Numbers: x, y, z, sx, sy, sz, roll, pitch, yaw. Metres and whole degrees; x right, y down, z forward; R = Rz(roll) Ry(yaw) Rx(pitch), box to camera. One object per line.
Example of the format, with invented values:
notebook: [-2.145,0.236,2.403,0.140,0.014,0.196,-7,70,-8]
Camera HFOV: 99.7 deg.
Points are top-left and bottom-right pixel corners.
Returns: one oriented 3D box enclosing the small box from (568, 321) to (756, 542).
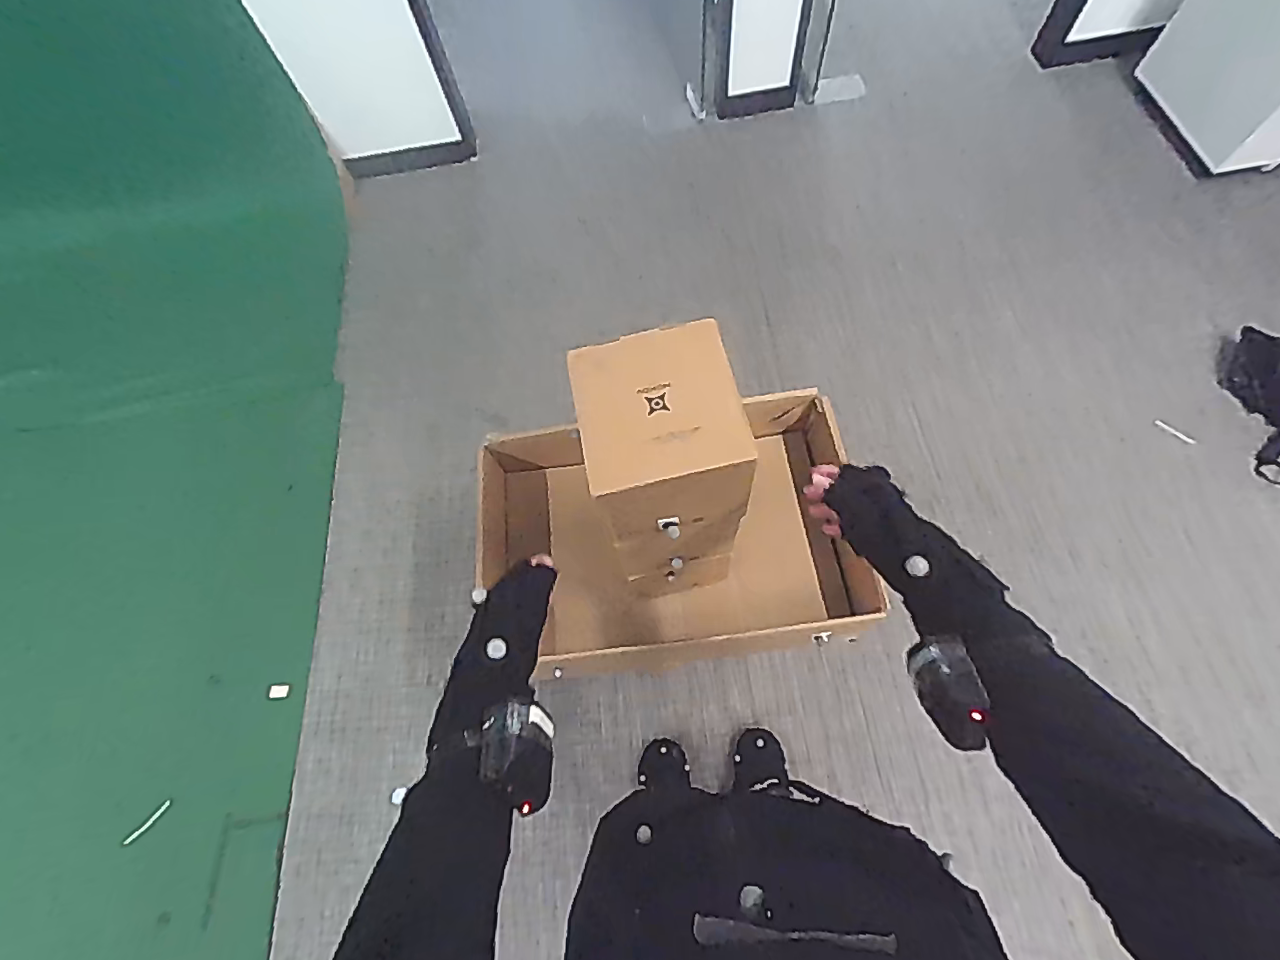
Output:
small box: [0.024,-0.047,0.623,0.168,0.176,0.179,-14,67,2]

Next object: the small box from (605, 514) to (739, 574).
small box: [0.033,0.018,0.771,0.168,0.176,0.179,-13,67,0]

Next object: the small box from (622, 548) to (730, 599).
small box: [0.048,0.086,0.920,0.168,0.176,0.179,-15,65,1]
